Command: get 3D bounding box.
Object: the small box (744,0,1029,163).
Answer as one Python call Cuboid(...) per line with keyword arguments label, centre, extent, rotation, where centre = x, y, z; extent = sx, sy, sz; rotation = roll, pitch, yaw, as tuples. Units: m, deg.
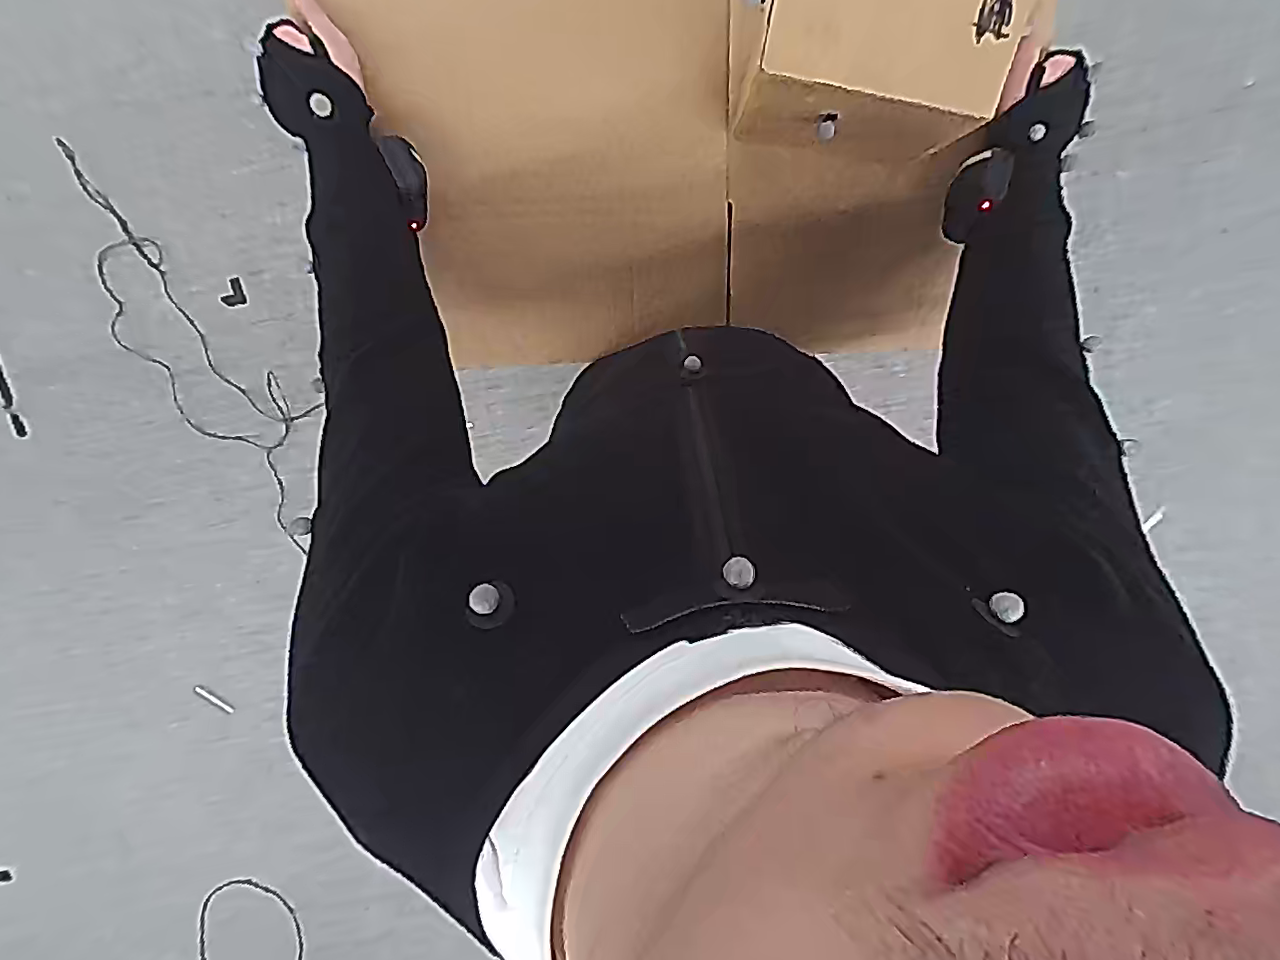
Cuboid(label="small box", centre=(0.193, -0.384, 0.447), extent=(0.179, 0.176, 0.168), rotation=(12, 109, 1))
